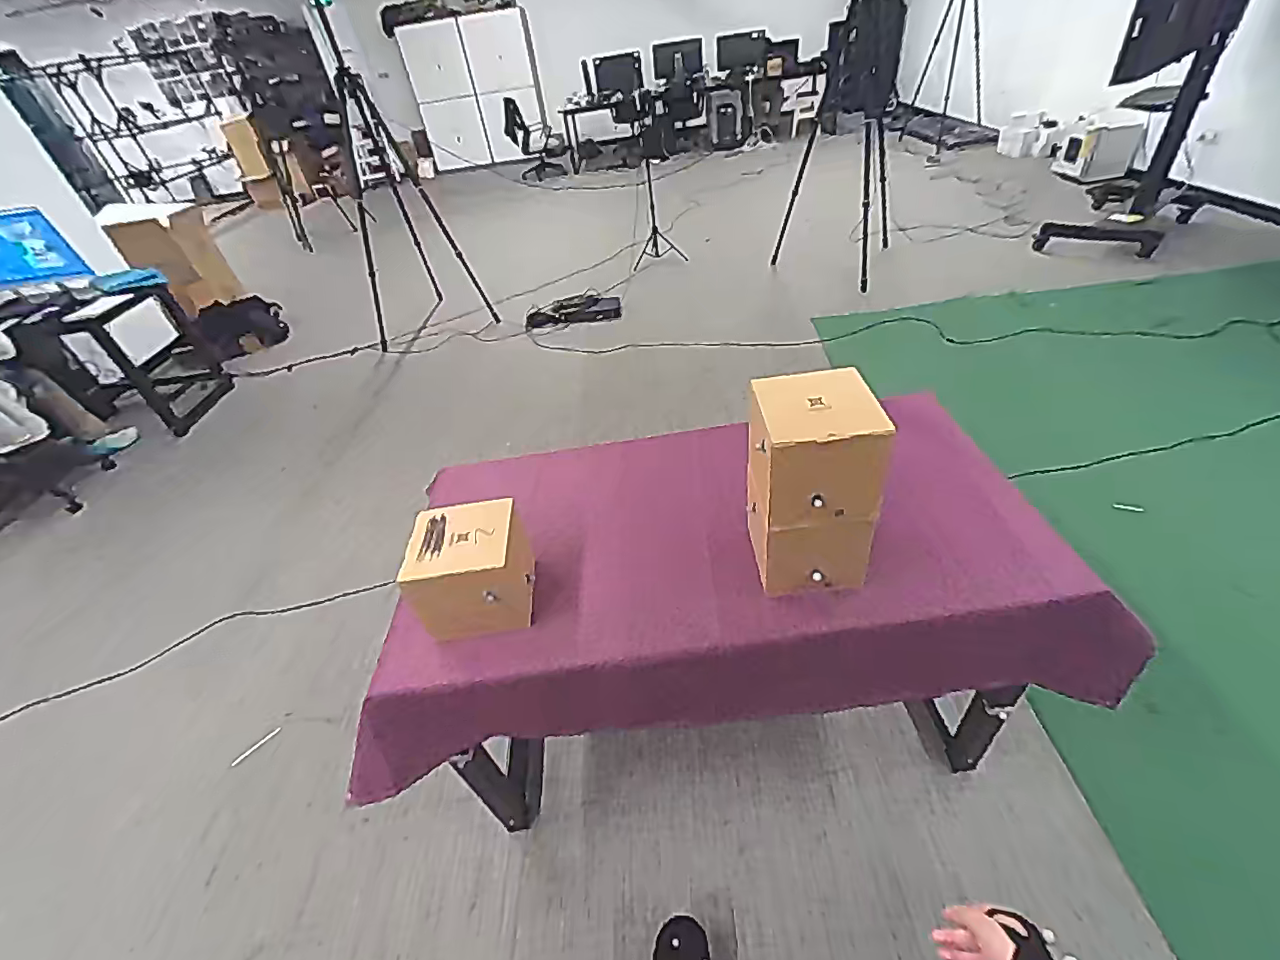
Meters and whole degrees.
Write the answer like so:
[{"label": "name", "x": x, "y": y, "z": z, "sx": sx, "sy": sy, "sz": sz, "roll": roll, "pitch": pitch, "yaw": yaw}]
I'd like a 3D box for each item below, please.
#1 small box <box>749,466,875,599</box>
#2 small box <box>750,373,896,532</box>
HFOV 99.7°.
[{"label": "small box", "x": 0.284, "y": 0.081, "z": 0.935, "sx": 0.168, "sy": 0.176, "sz": 0.179, "roll": -7, "pitch": 40, "yaw": 4}, {"label": "small box", "x": 0.265, "y": -0.043, "z": 0.831, "sx": 0.168, "sy": 0.176, "sz": 0.179, "roll": -7, "pitch": 41, "yaw": 4}]
